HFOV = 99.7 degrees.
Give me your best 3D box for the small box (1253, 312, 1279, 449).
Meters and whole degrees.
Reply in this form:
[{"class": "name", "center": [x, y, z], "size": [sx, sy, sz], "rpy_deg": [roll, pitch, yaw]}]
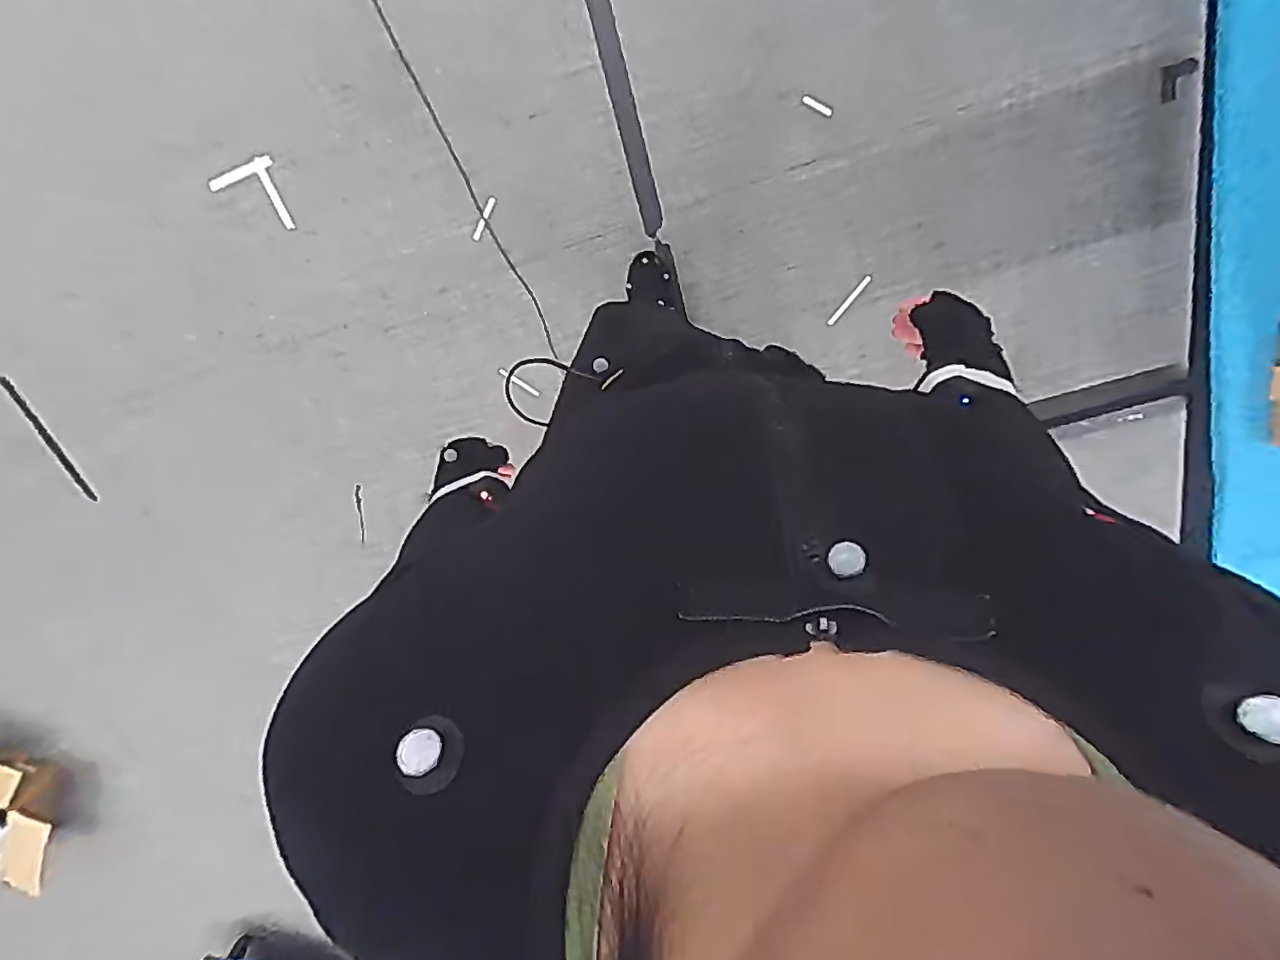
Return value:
[{"class": "small box", "center": [0.840, -0.116, 0.578], "size": [0.179, 0.176, 0.168], "rpy_deg": [-16, 111, 8]}]
